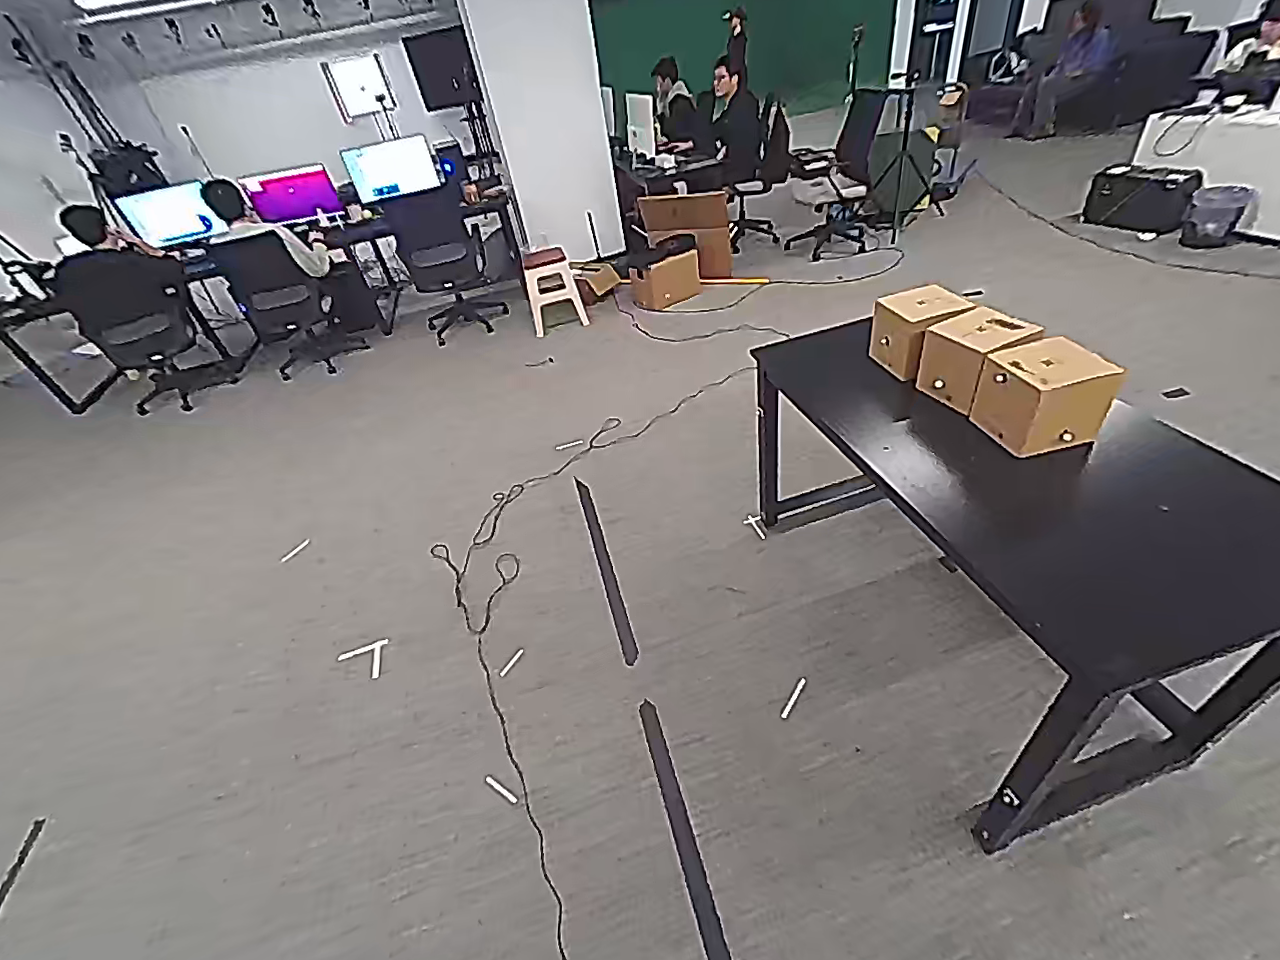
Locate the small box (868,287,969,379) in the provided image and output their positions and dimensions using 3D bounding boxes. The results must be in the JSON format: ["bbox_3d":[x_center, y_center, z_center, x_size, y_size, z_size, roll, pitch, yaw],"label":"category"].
[{"bbox_3d":[0.728,-0.388,1.438,0.179,0.176,0.168,-15,40,-4],"label":"small box"}]
